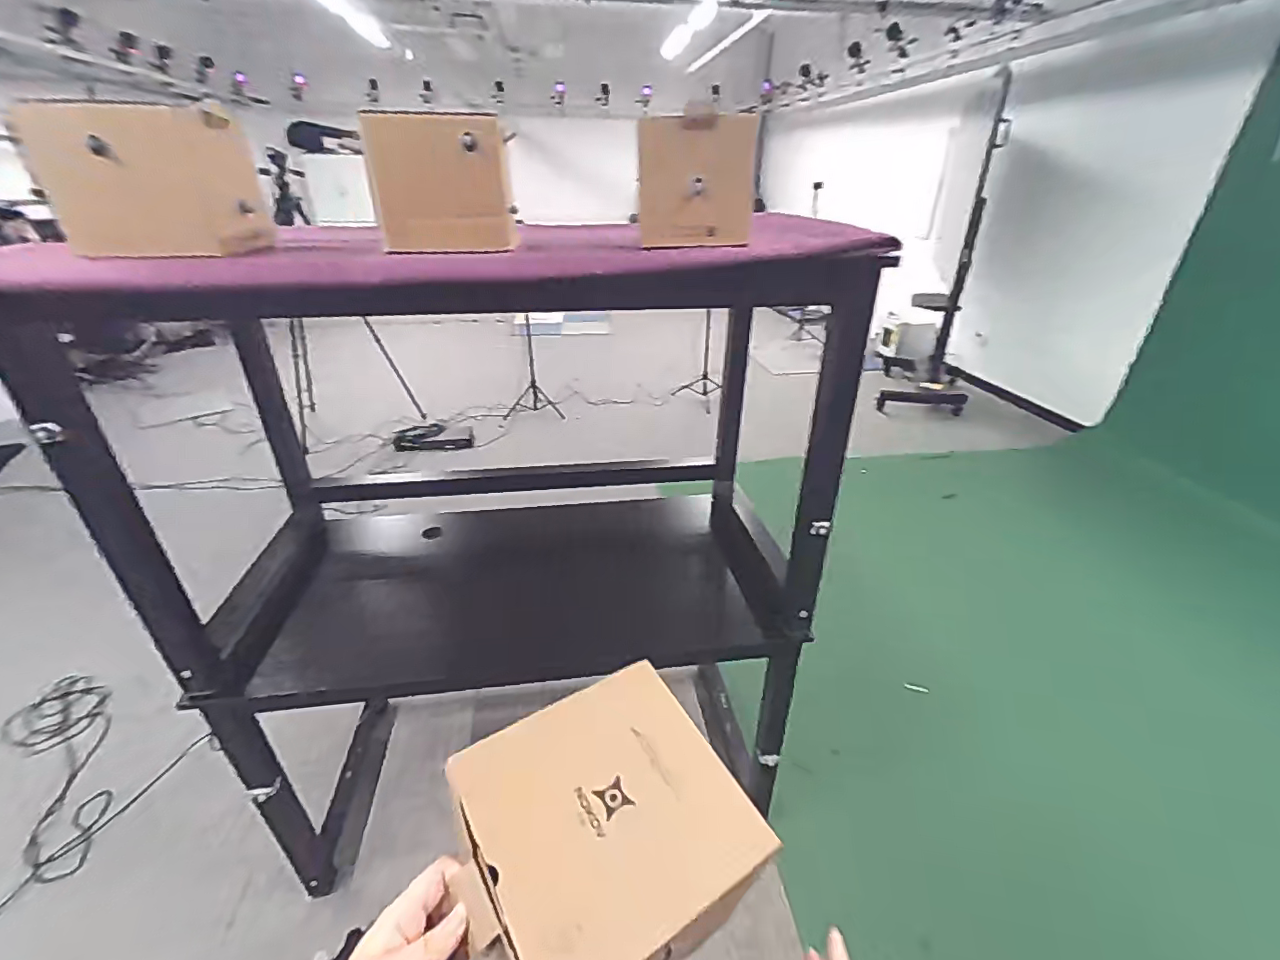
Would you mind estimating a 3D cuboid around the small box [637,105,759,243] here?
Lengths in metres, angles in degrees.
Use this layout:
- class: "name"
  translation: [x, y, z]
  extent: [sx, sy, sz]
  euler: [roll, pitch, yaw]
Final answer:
- class: "small box"
  translation: [0.081, -0.458, 0.827]
  extent: [0.168, 0.176, 0.179]
  euler: [-2, 27, 0]

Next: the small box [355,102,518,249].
- class: "small box"
  translation: [-0.277, -0.429, 0.781]
  extent: [0.179, 0.176, 0.168]
  euler: [-4, 28, -8]

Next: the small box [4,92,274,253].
- class: "small box"
  translation: [-0.633, -0.399, 0.716]
  extent: [0.179, 0.176, 0.168]
  euler: [-4, 31, -8]
